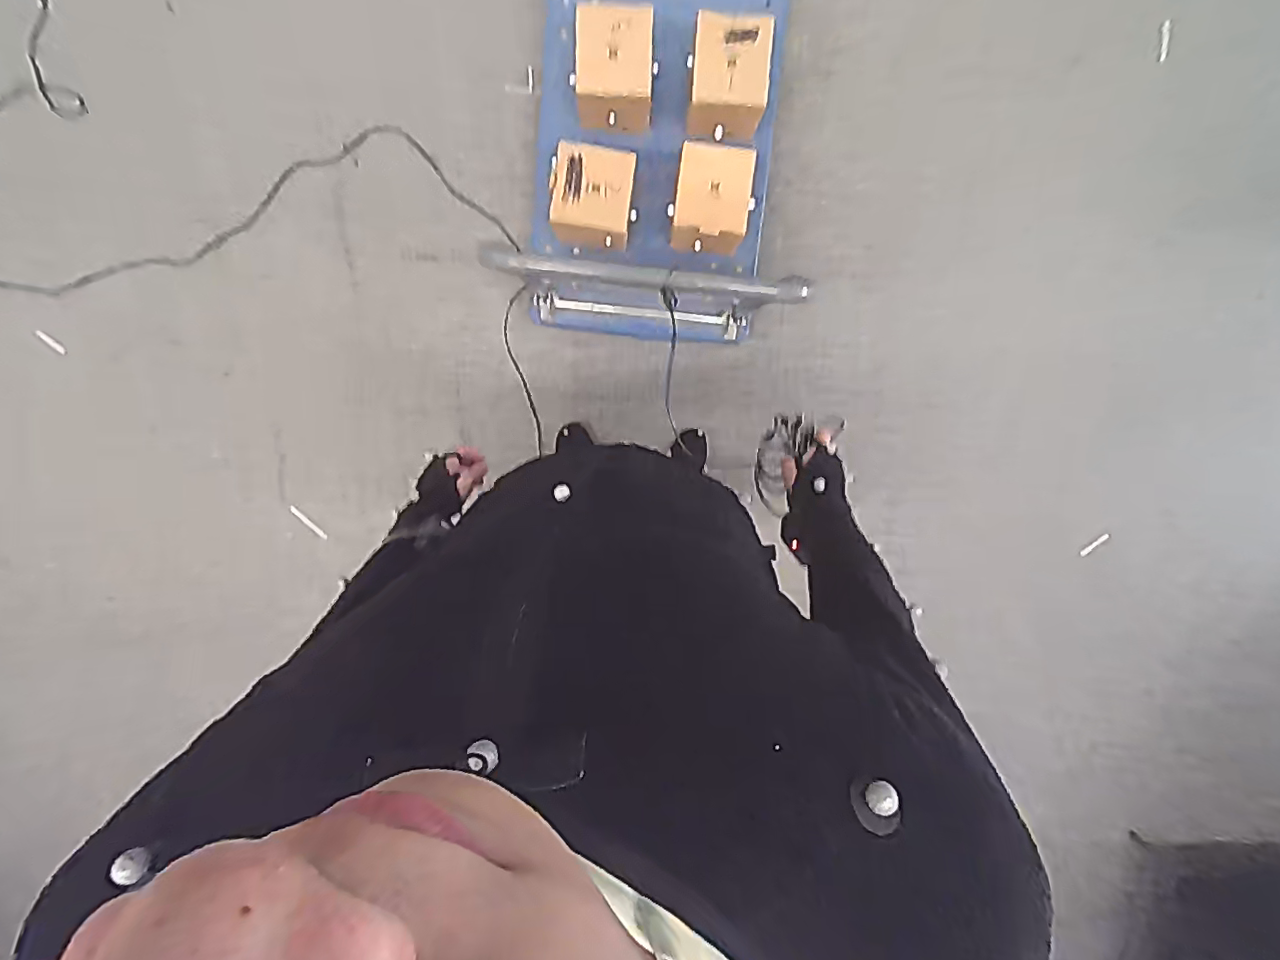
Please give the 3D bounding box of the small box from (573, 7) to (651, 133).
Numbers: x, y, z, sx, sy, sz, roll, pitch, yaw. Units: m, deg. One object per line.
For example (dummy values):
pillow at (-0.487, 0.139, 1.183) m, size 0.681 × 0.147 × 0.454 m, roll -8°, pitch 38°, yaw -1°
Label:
small box at (-0.062, -0.927, 1.239) m, size 0.168 × 0.176 × 0.179 m, roll 1°, pitch 98°, yaw -2°

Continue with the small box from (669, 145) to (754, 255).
small box at (0.161, -0.655, 1.281) m, size 0.168 × 0.176 × 0.179 m, roll 6°, pitch 99°, yaw -2°

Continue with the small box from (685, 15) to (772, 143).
small box at (0.195, -0.912, 1.243) m, size 0.168 × 0.176 × 0.179 m, roll 4°, pitch 99°, yaw 0°
